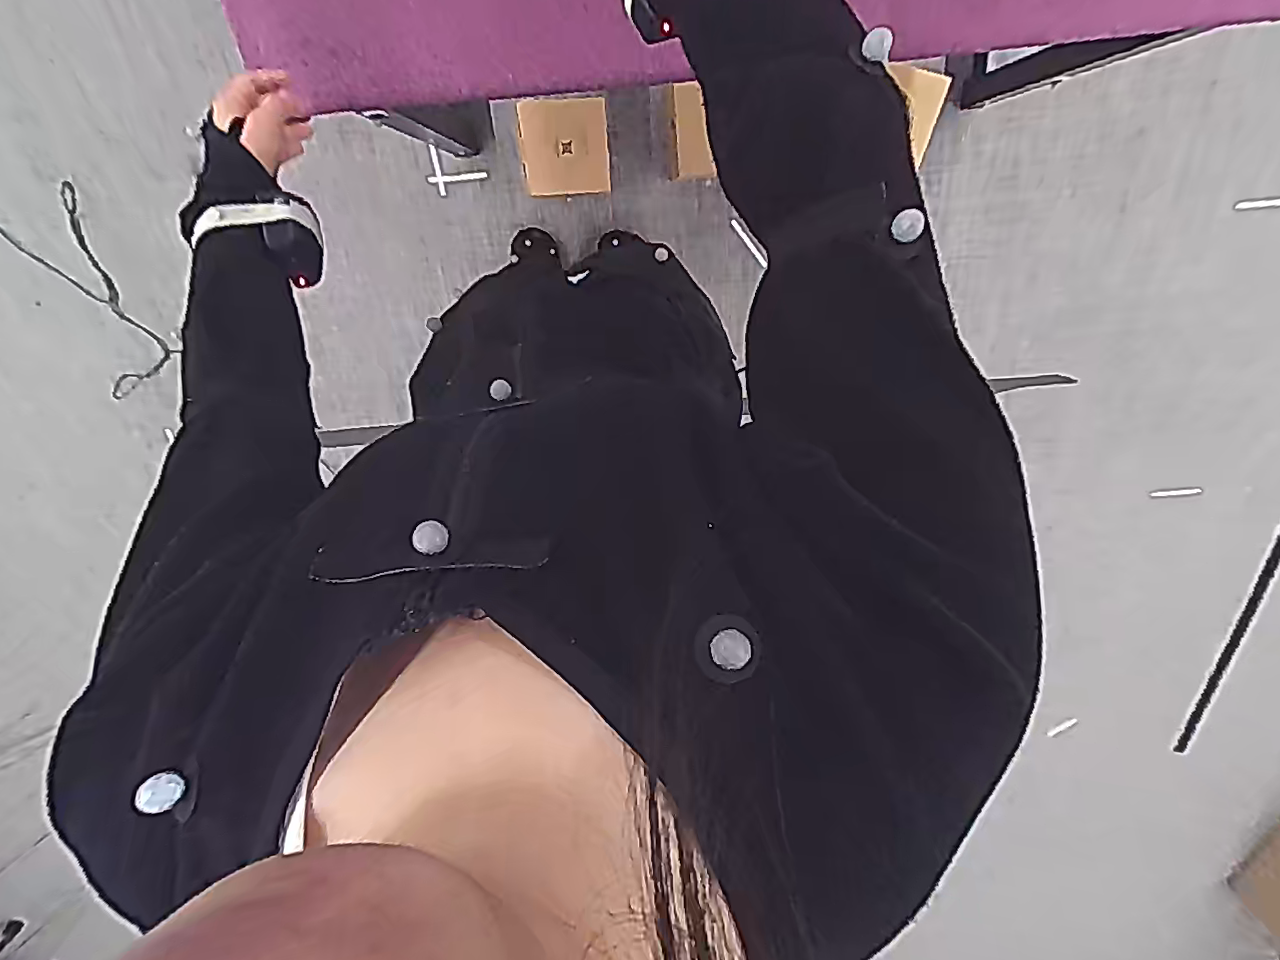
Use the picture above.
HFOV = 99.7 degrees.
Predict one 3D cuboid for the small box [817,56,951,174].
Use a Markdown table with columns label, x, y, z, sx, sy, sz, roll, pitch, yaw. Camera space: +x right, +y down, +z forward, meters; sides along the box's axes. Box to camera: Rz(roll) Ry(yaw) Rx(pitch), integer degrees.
| label | x | y | z | sx | sy | sz | roll | pitch | yaw |
| --- | --- | --- | --- | --- | --- | --- | --- | --- | --- |
| small box | 0.507 | -0.762 | 1.150 | 0.179 | 0.176 | 0.168 | 11 | 115 | -6 |

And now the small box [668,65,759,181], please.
| label | x | y | z | sx | sy | sz | roll | pitch | yaw |
| --- | --- | --- | --- | --- | --- | --- | --- | --- | --- |
| small box | 0.150 | -0.743 | 1.143 | 0.168 | 0.176 | 0.179 | -6 | 116 | 1 |
